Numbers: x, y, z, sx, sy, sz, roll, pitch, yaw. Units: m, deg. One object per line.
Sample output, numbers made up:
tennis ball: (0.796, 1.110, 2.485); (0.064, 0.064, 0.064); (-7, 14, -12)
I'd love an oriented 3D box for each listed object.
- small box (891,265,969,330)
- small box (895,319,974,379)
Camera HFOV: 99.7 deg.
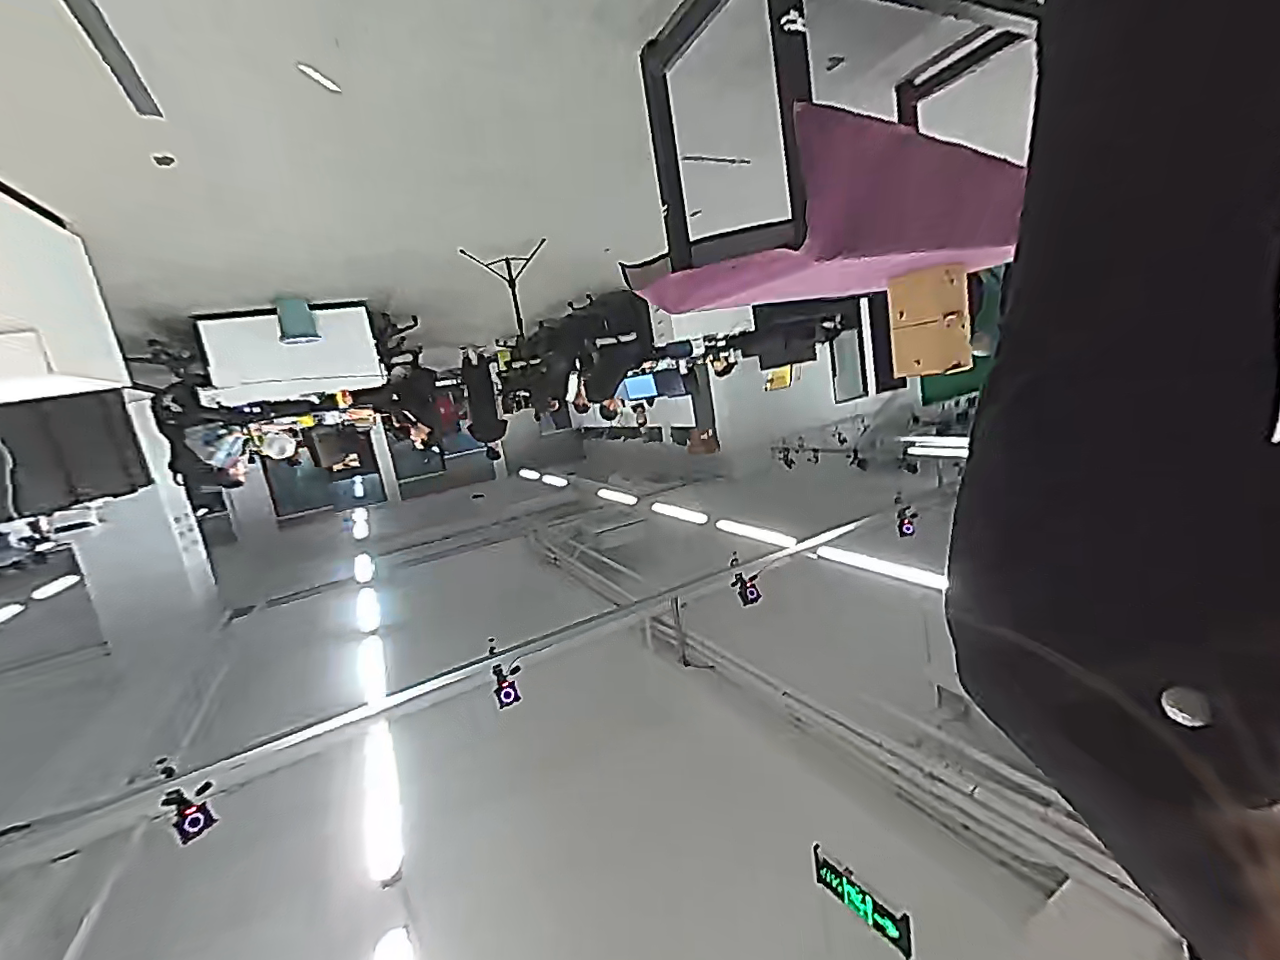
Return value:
small box: (0.953, -0.601, 1.782); (0.168, 0.176, 0.179); (-15, -169, -25)
small box: (0.981, -0.442, 1.813); (0.168, 0.176, 0.179); (-14, -168, -22)
